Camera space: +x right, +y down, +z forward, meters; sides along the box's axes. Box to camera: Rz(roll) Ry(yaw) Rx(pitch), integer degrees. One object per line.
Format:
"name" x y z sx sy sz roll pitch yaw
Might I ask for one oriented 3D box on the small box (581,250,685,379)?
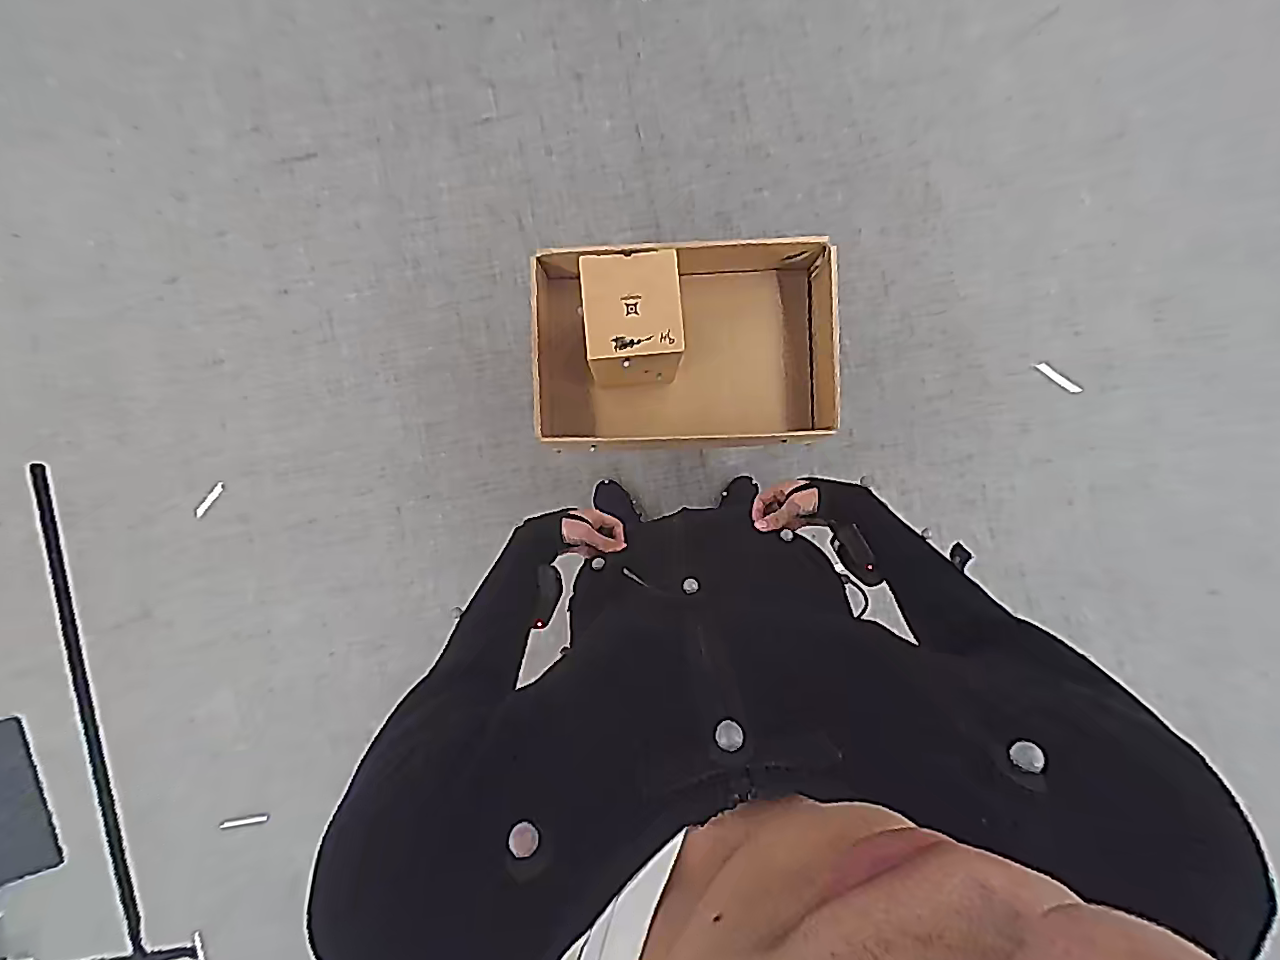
"small box" -0.013 -0.290 0.978 0.168 0.176 0.179 -5 90 0
